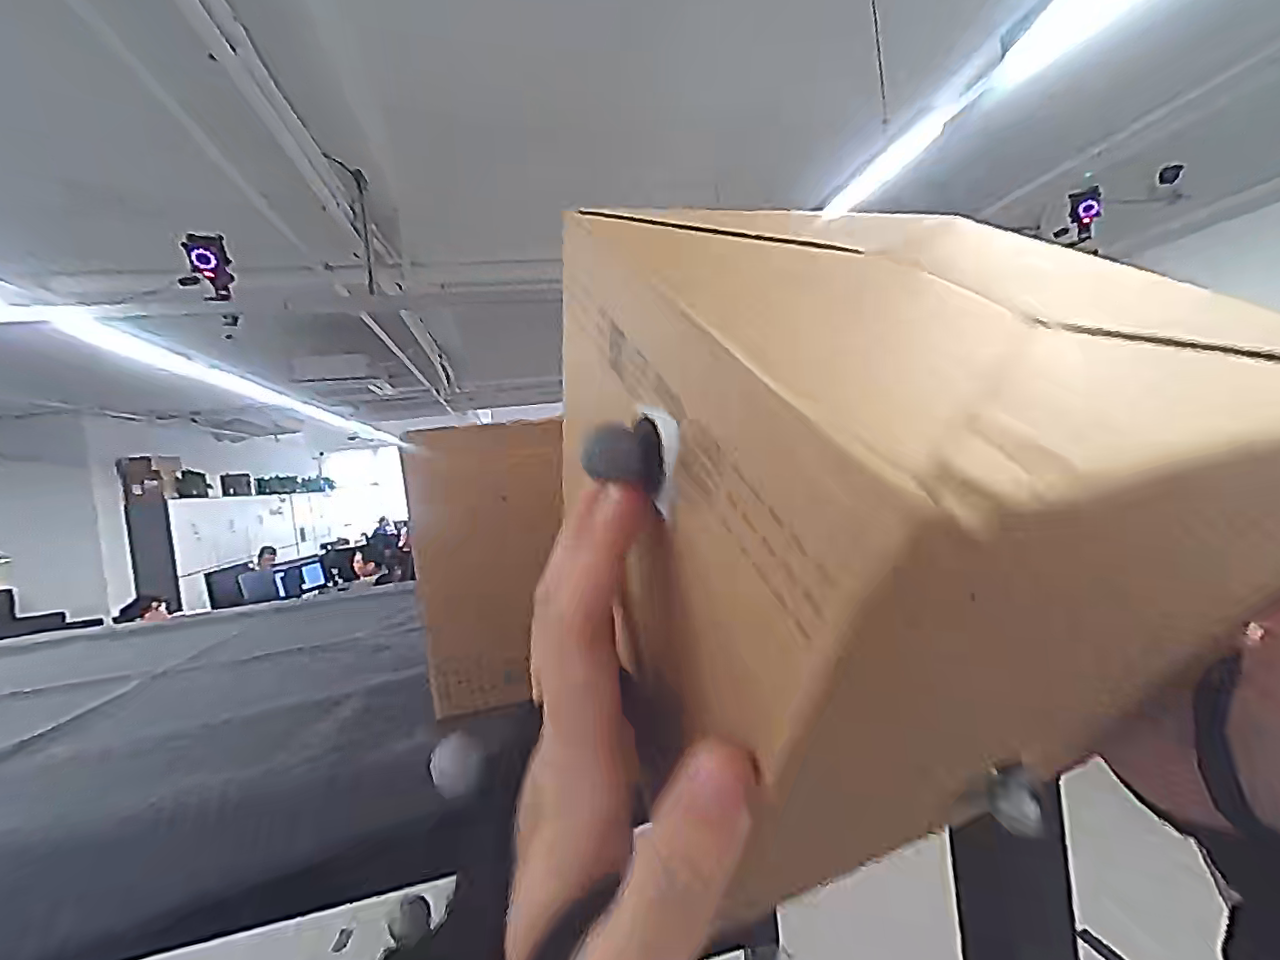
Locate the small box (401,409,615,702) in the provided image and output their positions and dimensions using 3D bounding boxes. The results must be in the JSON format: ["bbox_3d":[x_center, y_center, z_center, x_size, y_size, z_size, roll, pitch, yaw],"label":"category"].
[{"bbox_3d":[-0.064,0.043,0.406,0.168,0.176,0.179,-8,1,-11],"label":"small box"}]

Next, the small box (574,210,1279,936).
[{"bbox_3d":[0.081,0.011,0.195,0.179,0.176,0.168,-8,38,-19],"label":"small box"}]
